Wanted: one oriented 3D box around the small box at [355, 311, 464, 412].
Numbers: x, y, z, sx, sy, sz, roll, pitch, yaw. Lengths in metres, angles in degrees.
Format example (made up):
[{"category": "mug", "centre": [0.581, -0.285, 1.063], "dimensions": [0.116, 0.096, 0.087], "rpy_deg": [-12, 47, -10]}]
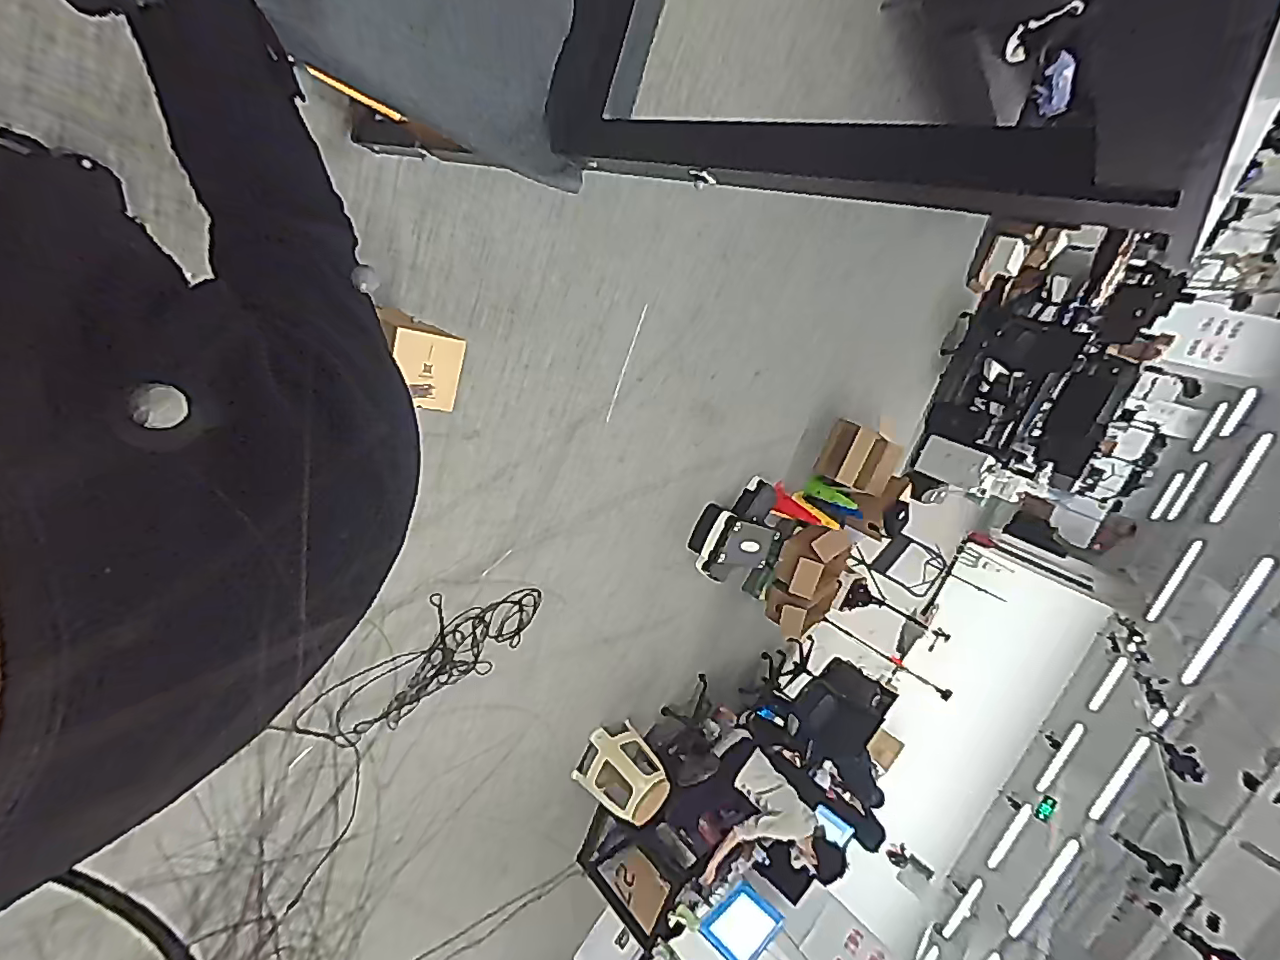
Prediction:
[{"category": "small box", "centre": [-0.542, -0.275, 1.261], "dimensions": [0.168, 0.176, 0.179], "rpy_deg": [0, 113, -49]}]
